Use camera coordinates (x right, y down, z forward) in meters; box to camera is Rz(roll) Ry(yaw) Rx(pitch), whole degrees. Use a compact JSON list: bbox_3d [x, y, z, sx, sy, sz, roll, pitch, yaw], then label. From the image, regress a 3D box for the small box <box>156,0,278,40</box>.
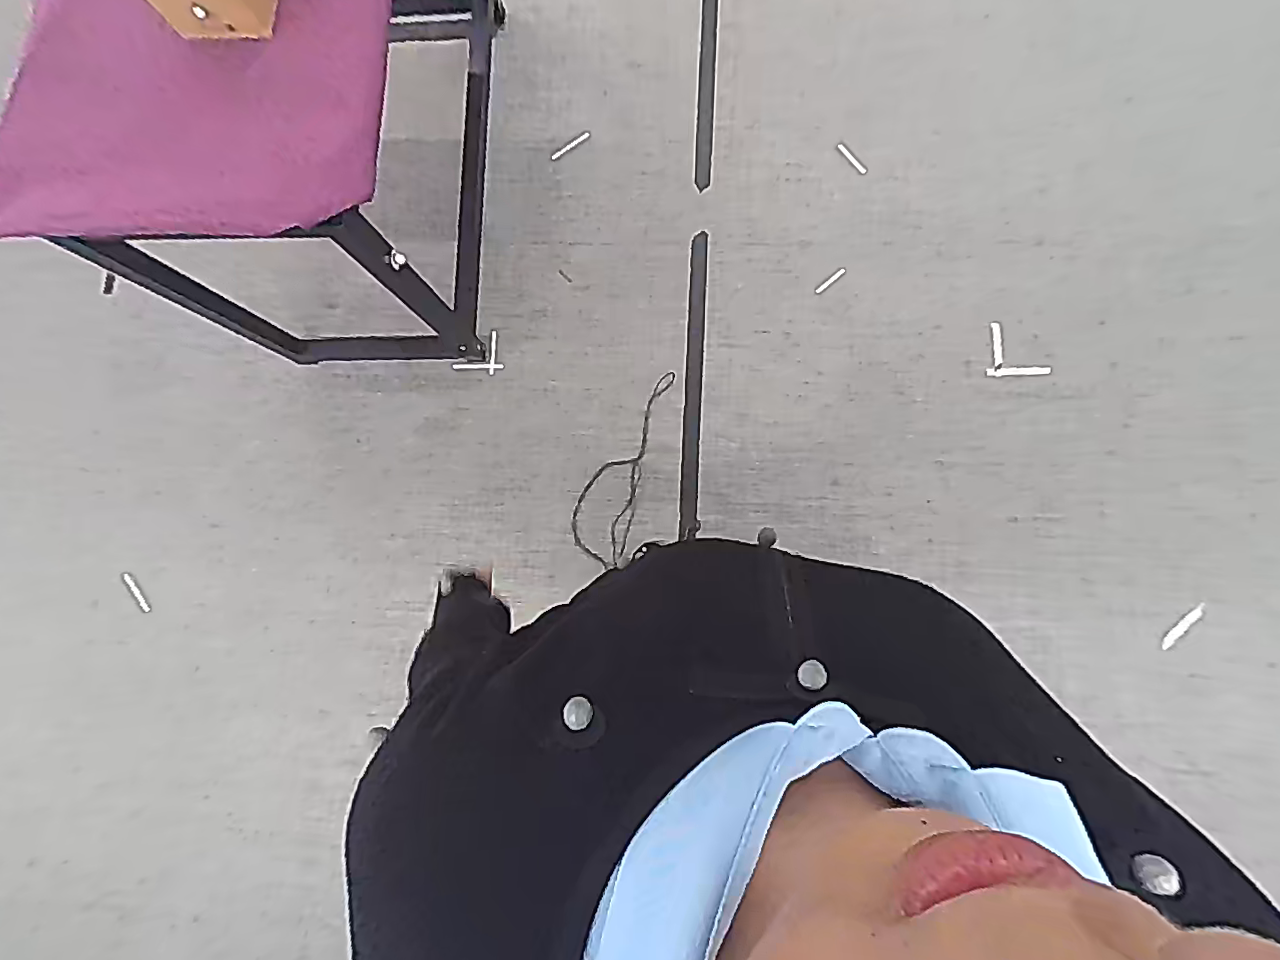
[{"bbox_3d":[-0.714,-0.863,0.872,0.168,0.176,0.179,2,83,4],"label":"small box"}]
